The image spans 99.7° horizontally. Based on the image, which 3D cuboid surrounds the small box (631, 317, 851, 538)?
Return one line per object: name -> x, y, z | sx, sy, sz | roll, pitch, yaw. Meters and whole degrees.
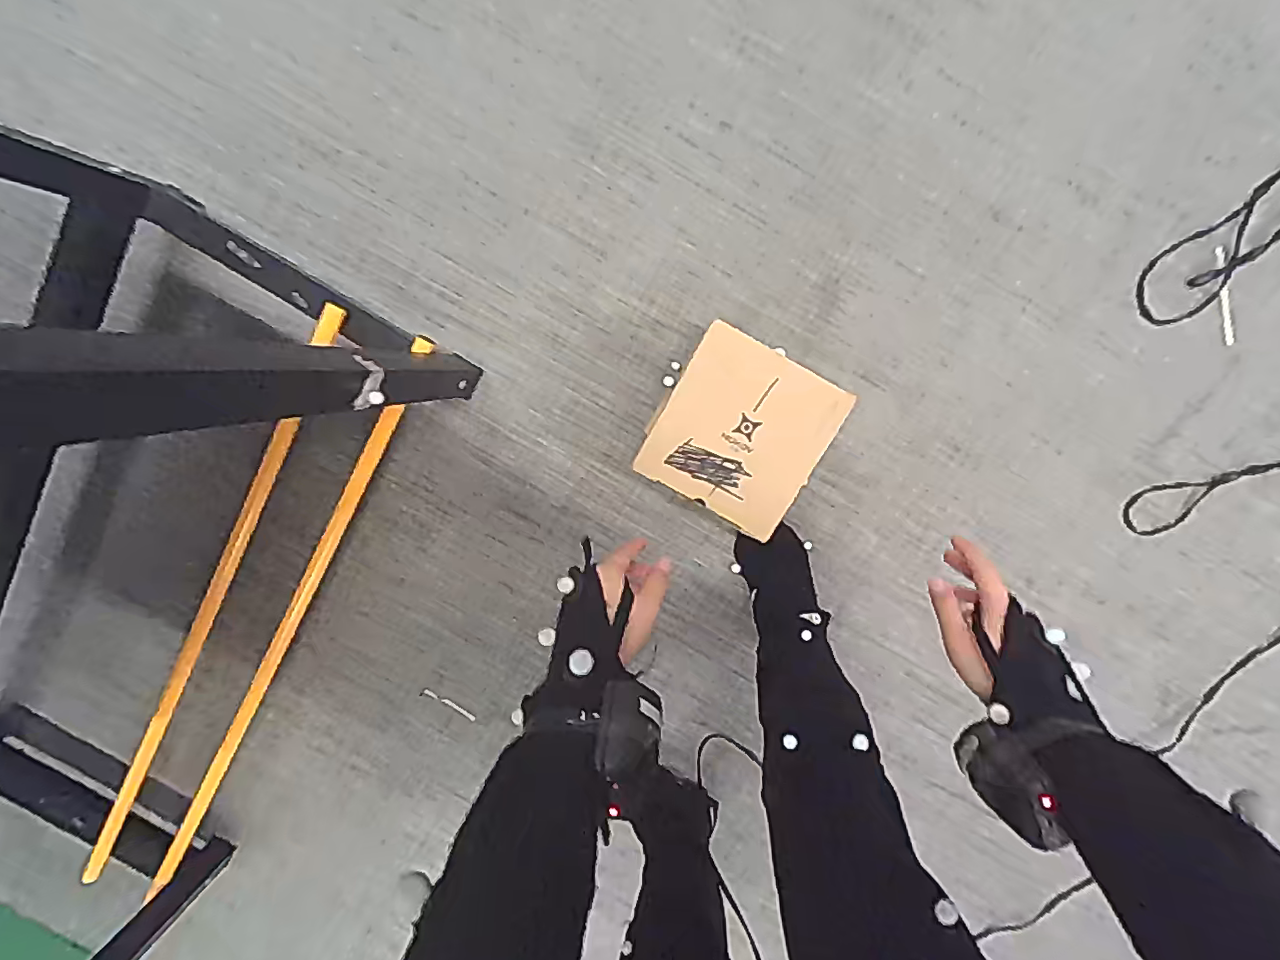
small box -> 0.108, -0.064, 0.632 | 0.168, 0.176, 0.179 | 30, 100, -2
